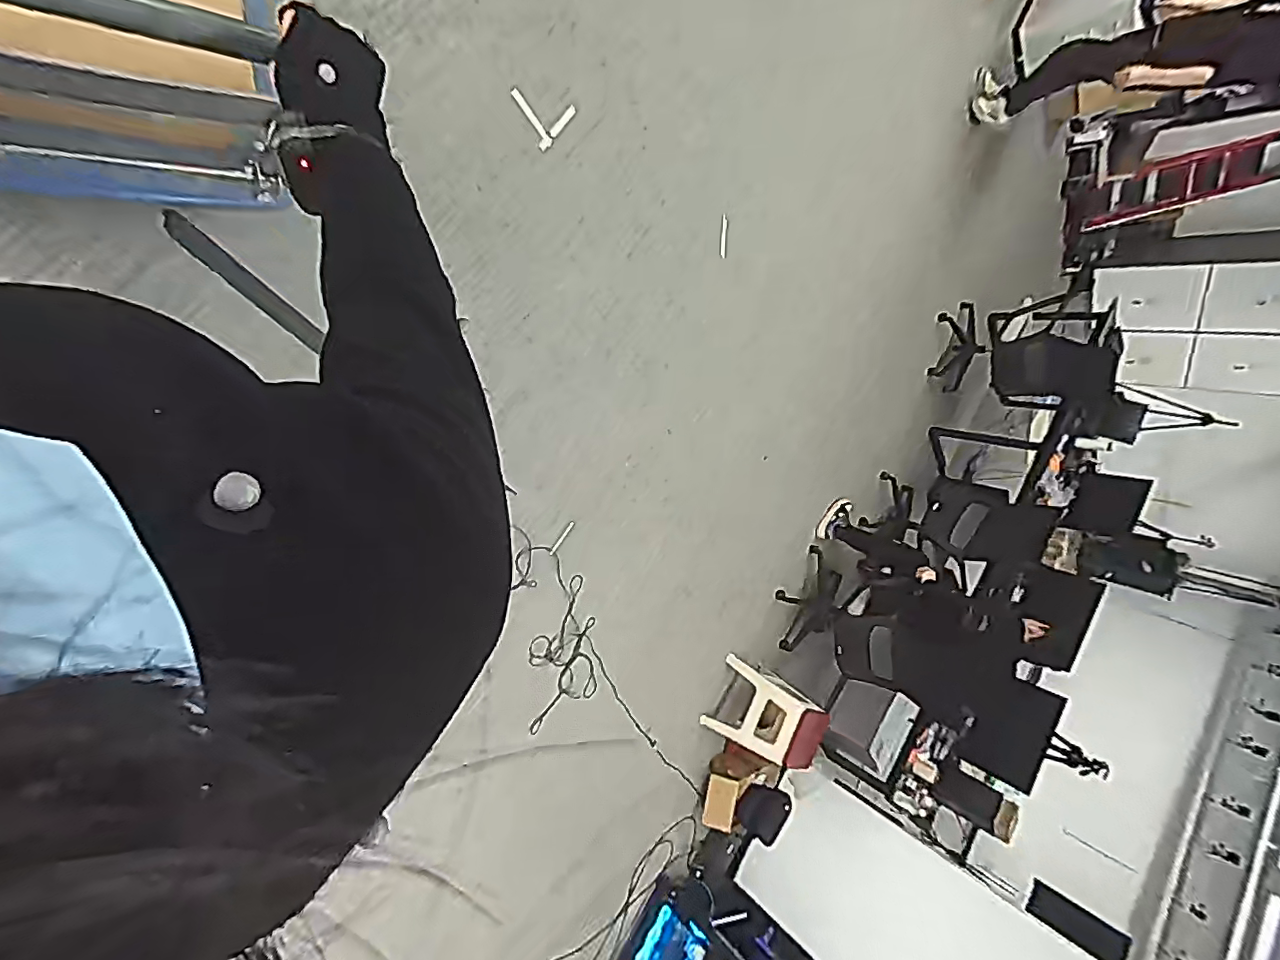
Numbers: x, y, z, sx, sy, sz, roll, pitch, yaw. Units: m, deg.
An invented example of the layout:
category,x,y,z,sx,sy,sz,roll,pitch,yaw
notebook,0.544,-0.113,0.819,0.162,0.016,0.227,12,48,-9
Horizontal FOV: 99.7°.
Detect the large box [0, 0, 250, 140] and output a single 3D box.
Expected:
category,x,y,z,sx,sy,sz,roll,pitch,yaw
large box,-0.802,-0.675,0.694,0.408,0.320,0.320,-17,115,-41
